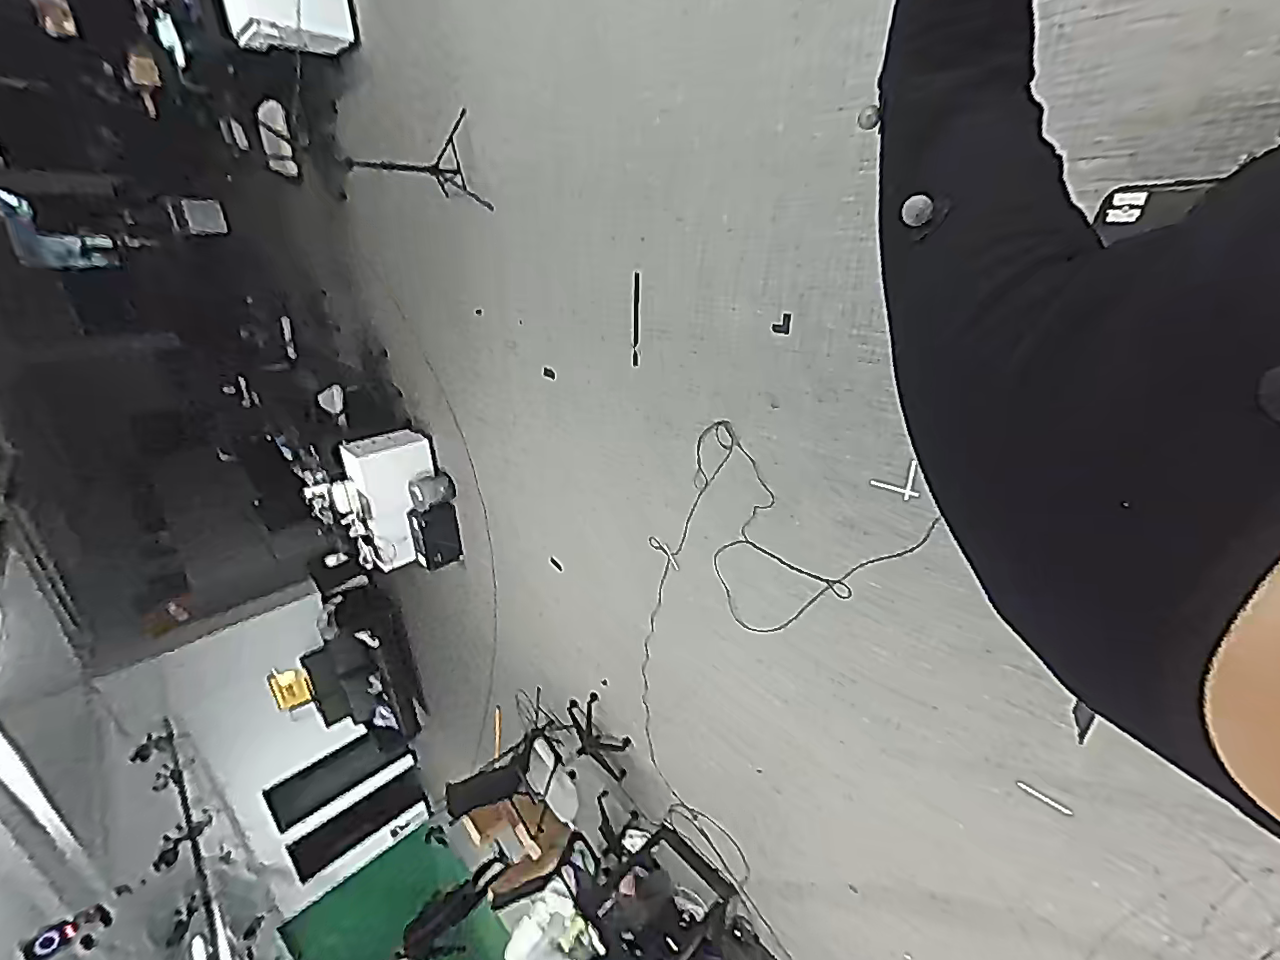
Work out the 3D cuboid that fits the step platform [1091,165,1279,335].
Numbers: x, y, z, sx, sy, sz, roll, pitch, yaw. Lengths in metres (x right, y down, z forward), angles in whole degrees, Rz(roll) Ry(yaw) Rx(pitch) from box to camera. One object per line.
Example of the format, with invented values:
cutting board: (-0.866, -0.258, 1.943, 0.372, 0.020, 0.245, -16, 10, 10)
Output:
step platform: (1.235, -0.402, 0.941, 0.684, 0.204, 0.286, 20, 122, 41)
